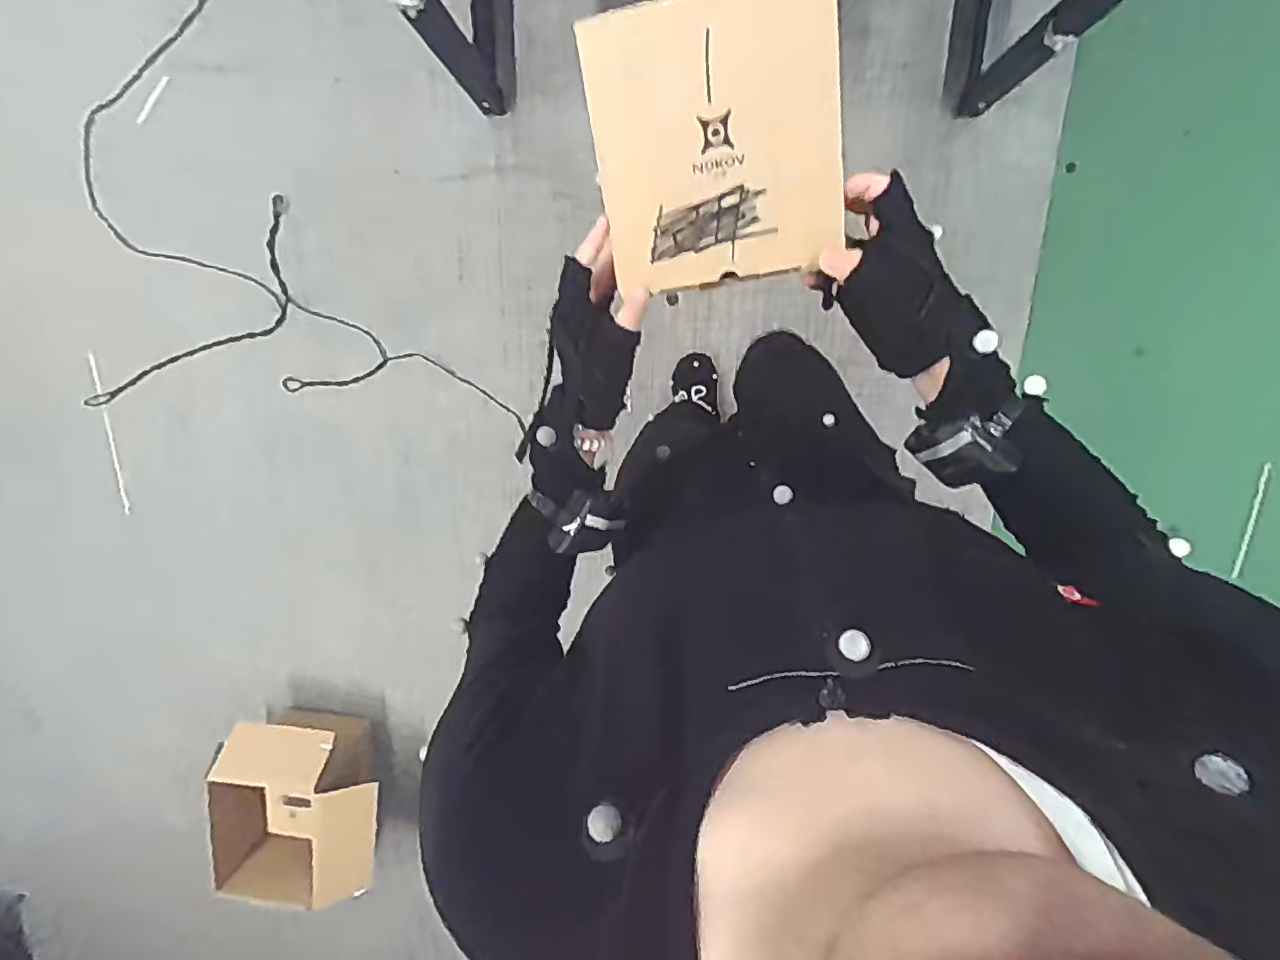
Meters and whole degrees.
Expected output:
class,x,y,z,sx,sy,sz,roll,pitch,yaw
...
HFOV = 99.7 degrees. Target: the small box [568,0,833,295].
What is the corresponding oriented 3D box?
class,x,y,z,sx,sy,sz,roll,pitch,yaw
small box,0.054,-0.255,0.438,0.168,0.176,0.179,-6,109,9
